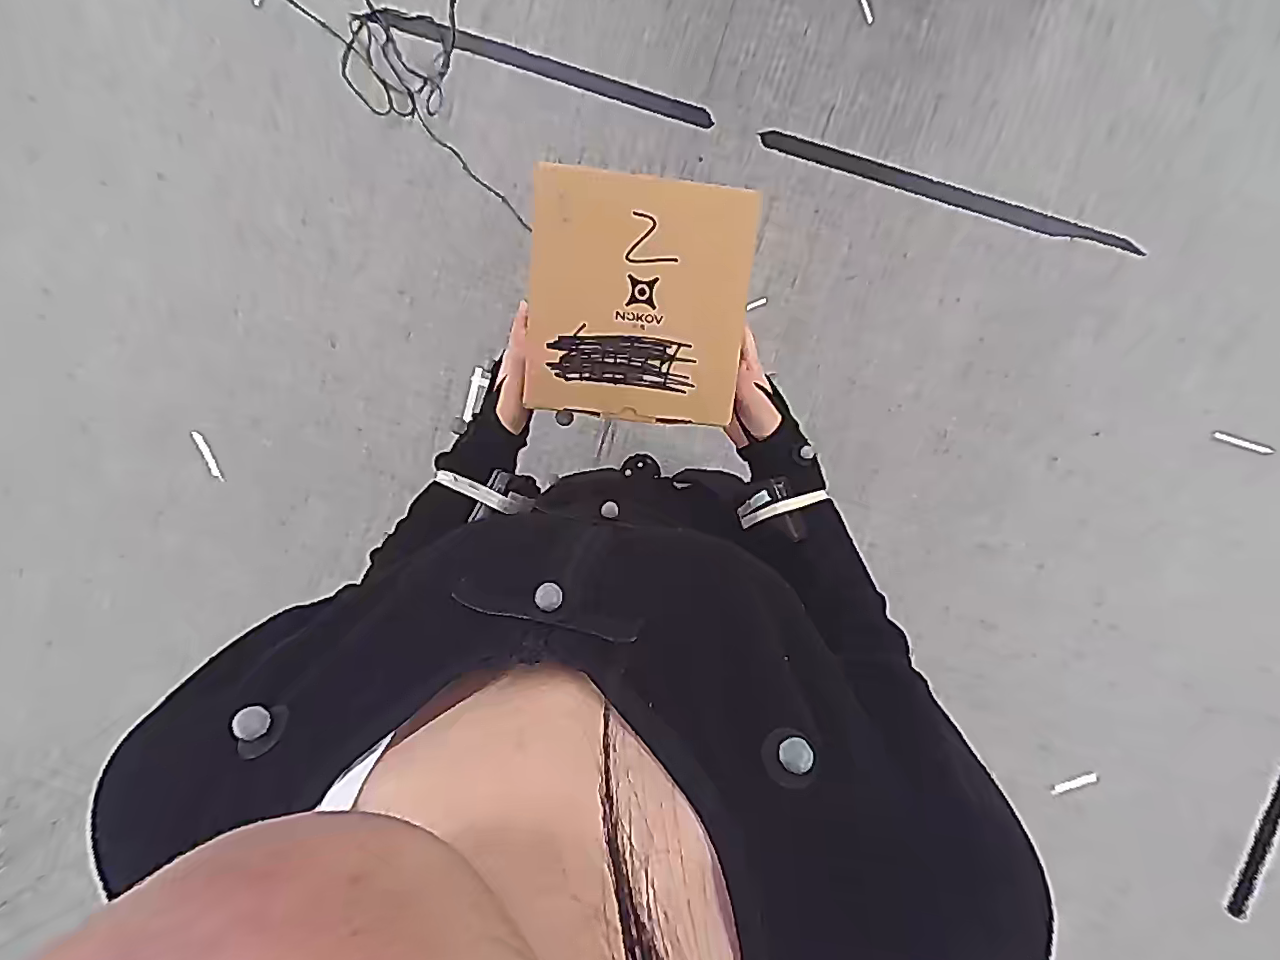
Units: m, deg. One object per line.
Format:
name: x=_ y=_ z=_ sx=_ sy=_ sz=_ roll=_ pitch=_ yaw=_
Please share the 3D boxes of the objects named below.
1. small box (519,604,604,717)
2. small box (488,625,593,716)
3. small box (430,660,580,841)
small box: x=-0.179 y=0.383 z=1.145 sx=0.168 sy=0.176 sz=0.179 roll=15 pitch=92 yaw=1
small box: x=-0.188 y=0.383 z=0.983 sx=0.168 sy=0.176 sz=0.179 roll=14 pitch=93 yaw=3
small box: x=-0.191 y=0.393 z=0.818 sx=0.168 sy=0.176 sz=0.179 roll=10 pitch=92 yaw=3
